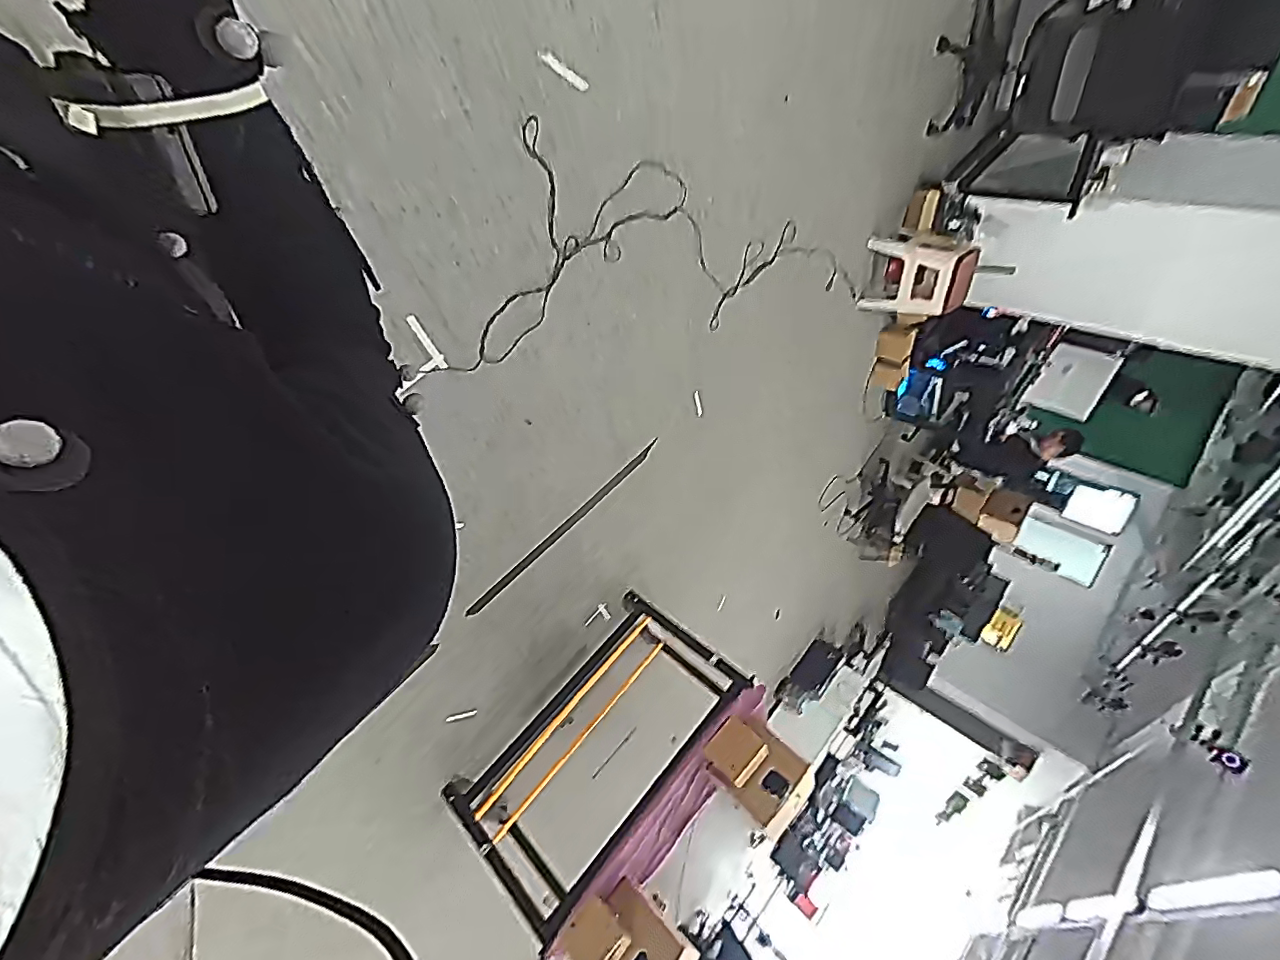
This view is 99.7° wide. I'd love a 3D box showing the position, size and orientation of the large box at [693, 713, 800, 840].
[{"bbox_3d":[0.473,1.300,2.375,0.320,0.320,0.408,-43,139,-20],"label":"large box"}]
